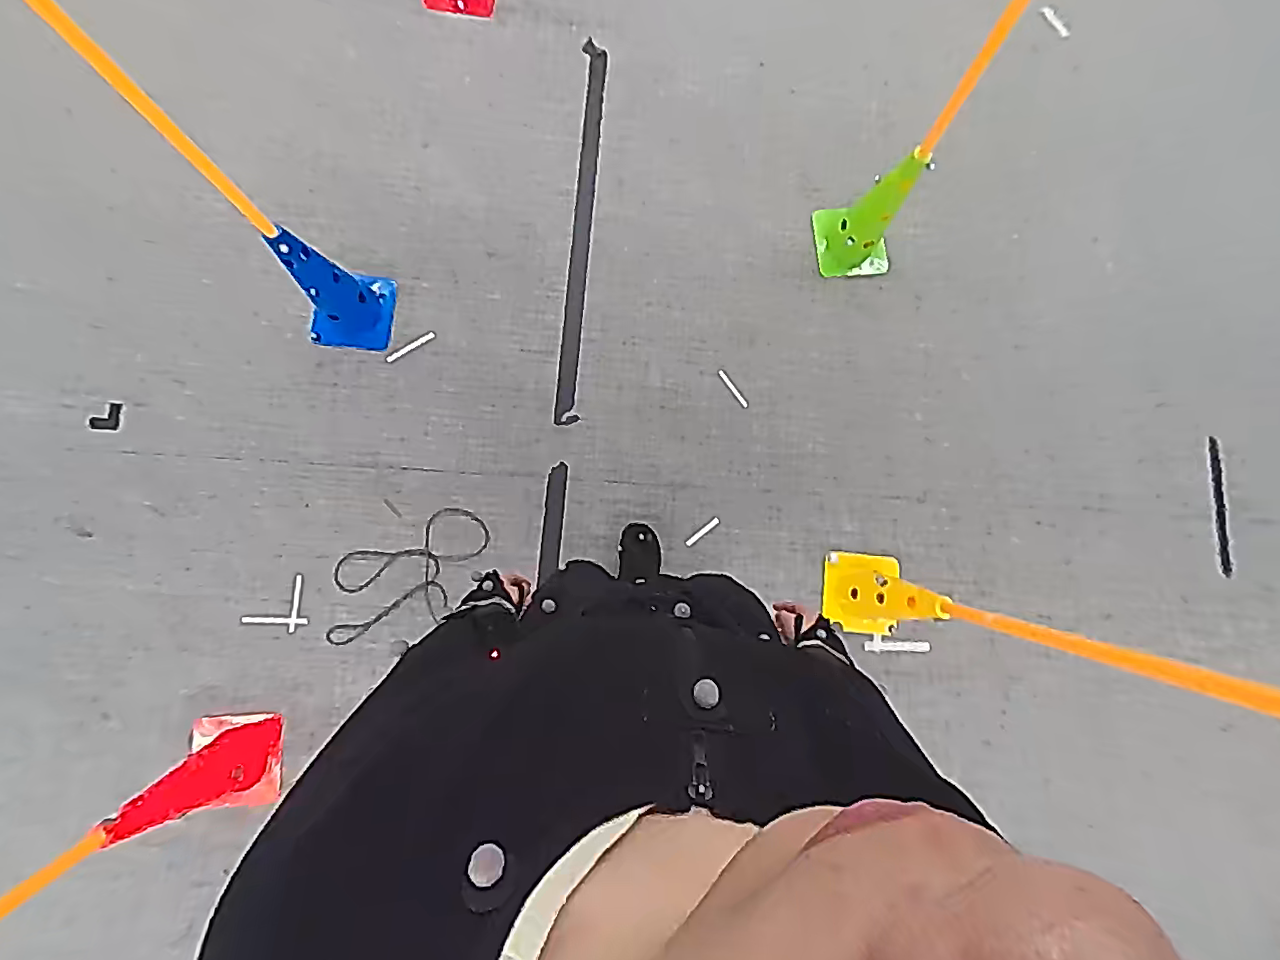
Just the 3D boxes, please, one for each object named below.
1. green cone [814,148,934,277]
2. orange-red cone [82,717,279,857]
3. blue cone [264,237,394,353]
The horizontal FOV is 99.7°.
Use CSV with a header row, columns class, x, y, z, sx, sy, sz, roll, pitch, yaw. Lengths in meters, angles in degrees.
class,x,y,z,sx,sy,sz,roll,pitch,yaw
green cone,0.605,-0.691,1.352,0.200,0.368,0.202,-6,85,-4
orange-red cone,-0.925,0.631,1.076,0.199,0.360,0.198,-1,83,-5
blue cone,-0.734,-0.450,1.248,0.193,0.380,0.192,7,83,-2
